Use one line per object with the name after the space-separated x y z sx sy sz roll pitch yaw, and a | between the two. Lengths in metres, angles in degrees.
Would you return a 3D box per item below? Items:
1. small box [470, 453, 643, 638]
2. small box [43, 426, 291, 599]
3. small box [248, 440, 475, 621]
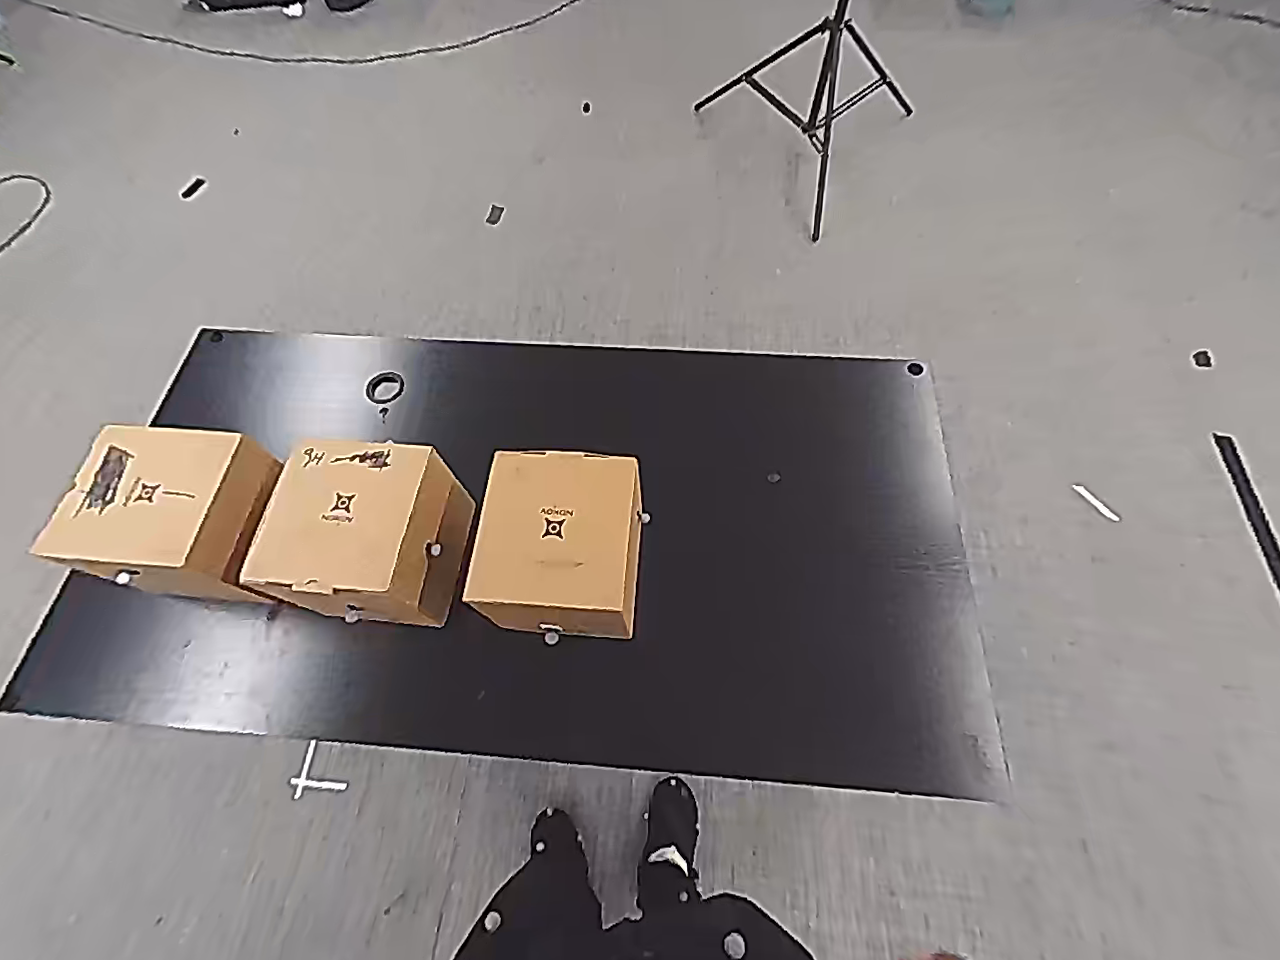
-0.085 0.085 0.656 0.168 0.176 0.179 2 65 4 | small box
-0.553 0.048 0.686 0.179 0.176 0.168 4 65 3 | small box
-0.322 0.070 0.669 0.168 0.176 0.179 5 65 4 | small box
